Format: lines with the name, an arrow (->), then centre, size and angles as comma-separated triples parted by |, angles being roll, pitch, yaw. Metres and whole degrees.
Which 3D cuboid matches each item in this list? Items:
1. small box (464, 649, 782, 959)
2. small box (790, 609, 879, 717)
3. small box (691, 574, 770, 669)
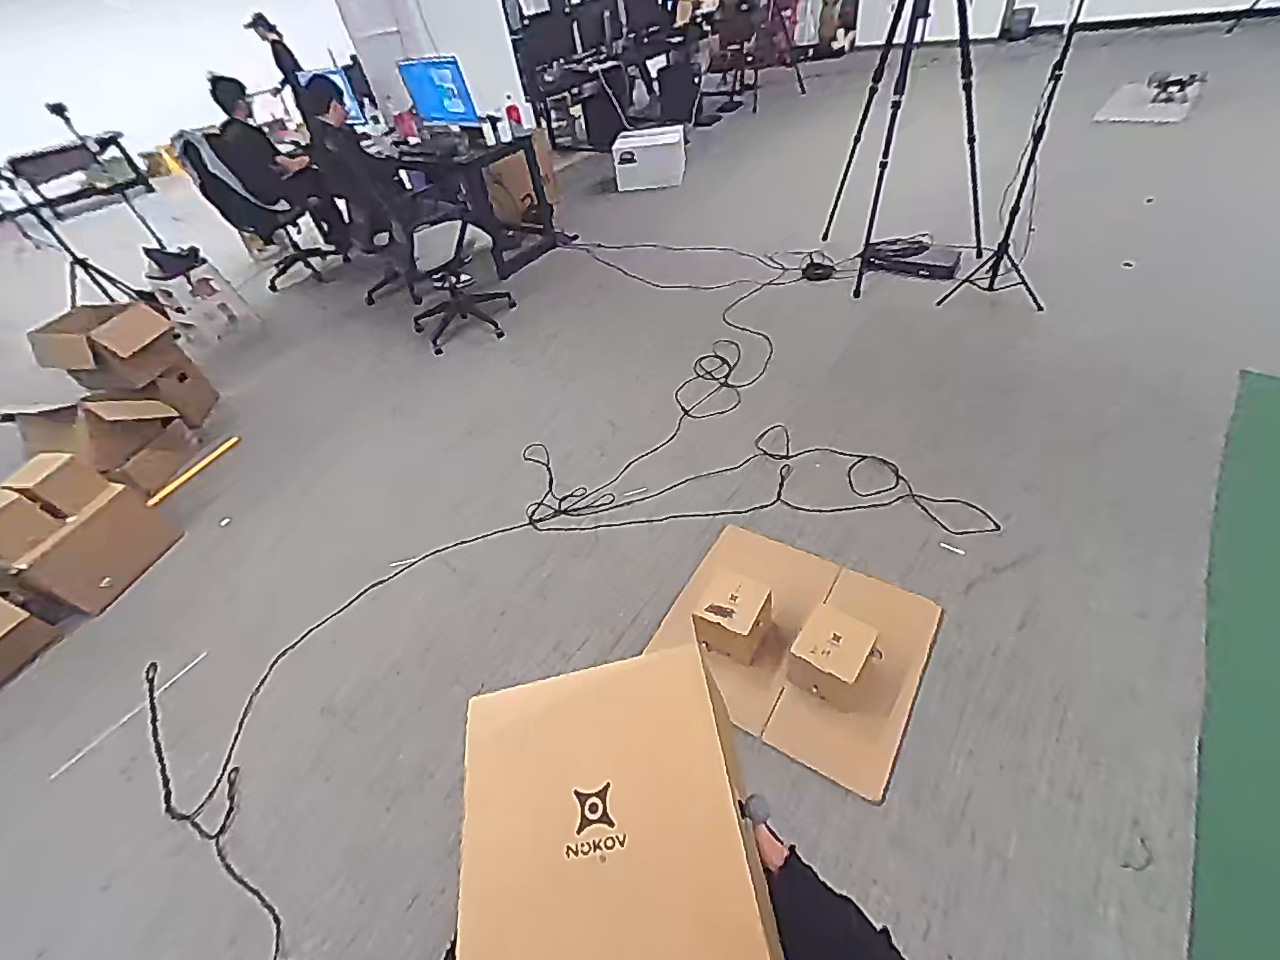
small box -> -0.005, 0.246, 0.379 | 0.168, 0.176, 0.179 | -15, 51, 5
small box -> 0.504, 0.482, 1.424 | 0.168, 0.176, 0.179 | 23, 54, 32
small box -> 0.265, 0.408, 1.548 | 0.168, 0.176, 0.179 | 18, 50, 28
